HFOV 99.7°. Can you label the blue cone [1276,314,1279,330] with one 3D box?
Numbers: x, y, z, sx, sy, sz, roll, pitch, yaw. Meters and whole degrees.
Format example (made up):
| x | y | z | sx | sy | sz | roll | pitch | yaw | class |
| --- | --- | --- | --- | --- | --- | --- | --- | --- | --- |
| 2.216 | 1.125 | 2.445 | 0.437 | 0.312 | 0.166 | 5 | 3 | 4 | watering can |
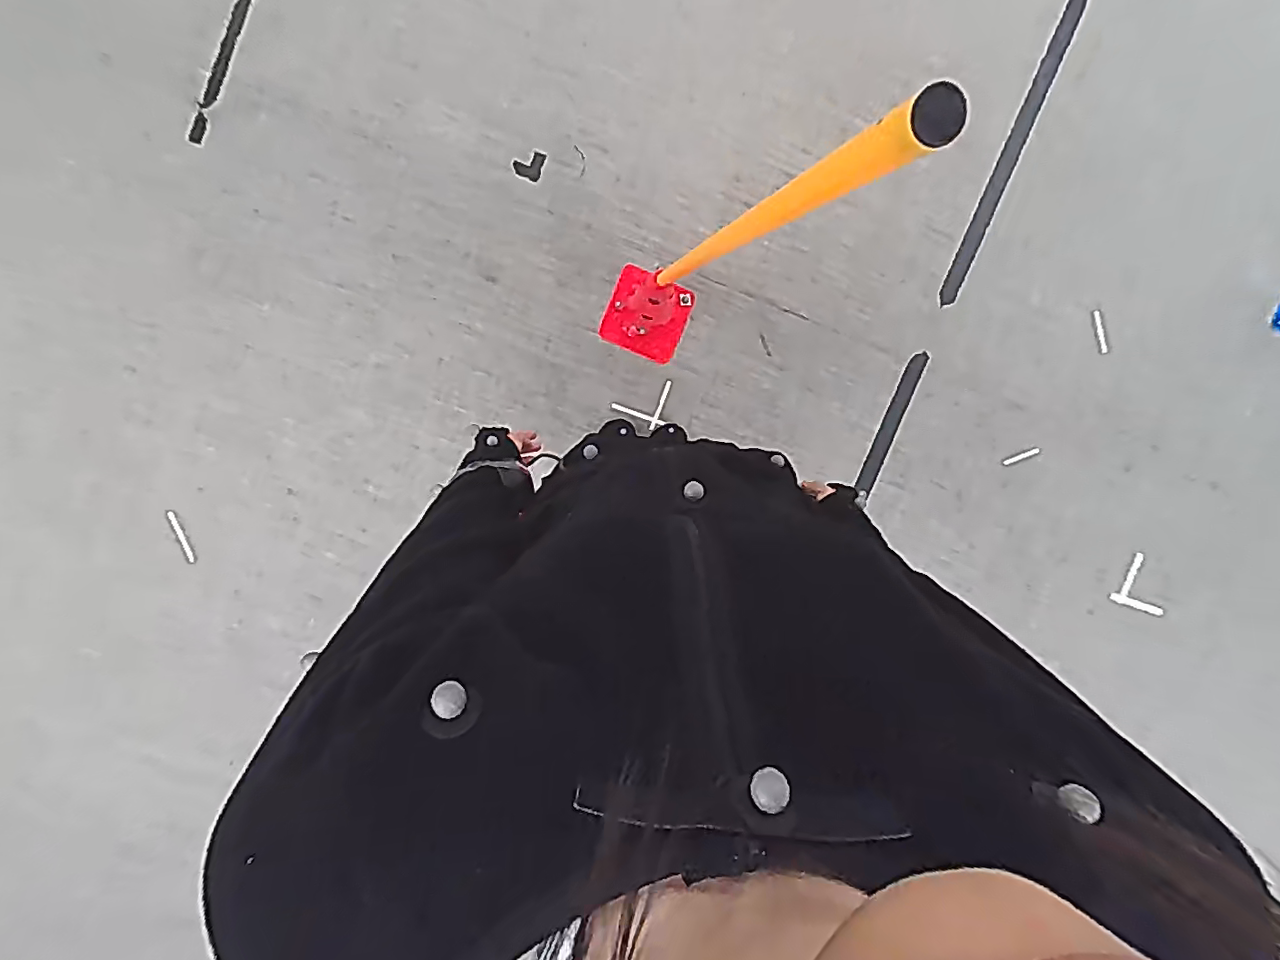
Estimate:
| x | y | z | sx | sy | sz | roll | pitch | yaw | class |
| --- | --- | --- | --- | --- | --- | --- | --- | --- | --- |
| 1.901 | -0.457 | 1.346 | 0.193 | 0.380 | 0.192 | 25 | 95 | -6 | blue cone |
